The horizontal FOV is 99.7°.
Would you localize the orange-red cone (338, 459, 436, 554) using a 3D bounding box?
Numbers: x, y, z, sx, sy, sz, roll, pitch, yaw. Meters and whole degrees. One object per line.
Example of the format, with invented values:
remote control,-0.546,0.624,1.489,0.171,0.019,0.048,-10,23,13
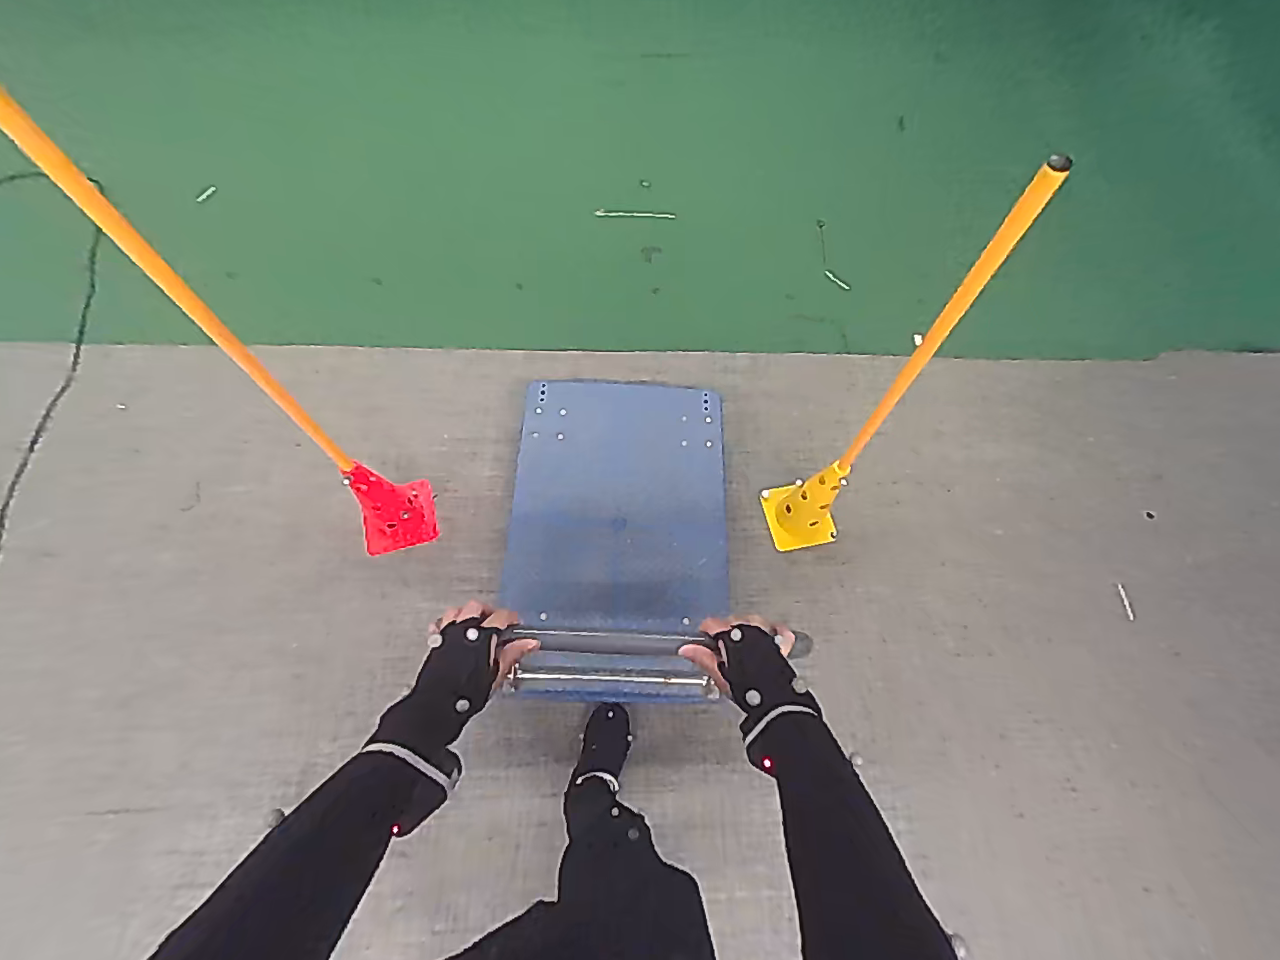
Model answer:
orange-red cone,-0.693,0.039,1.418,0.199,0.360,0.198,-14,68,-8
